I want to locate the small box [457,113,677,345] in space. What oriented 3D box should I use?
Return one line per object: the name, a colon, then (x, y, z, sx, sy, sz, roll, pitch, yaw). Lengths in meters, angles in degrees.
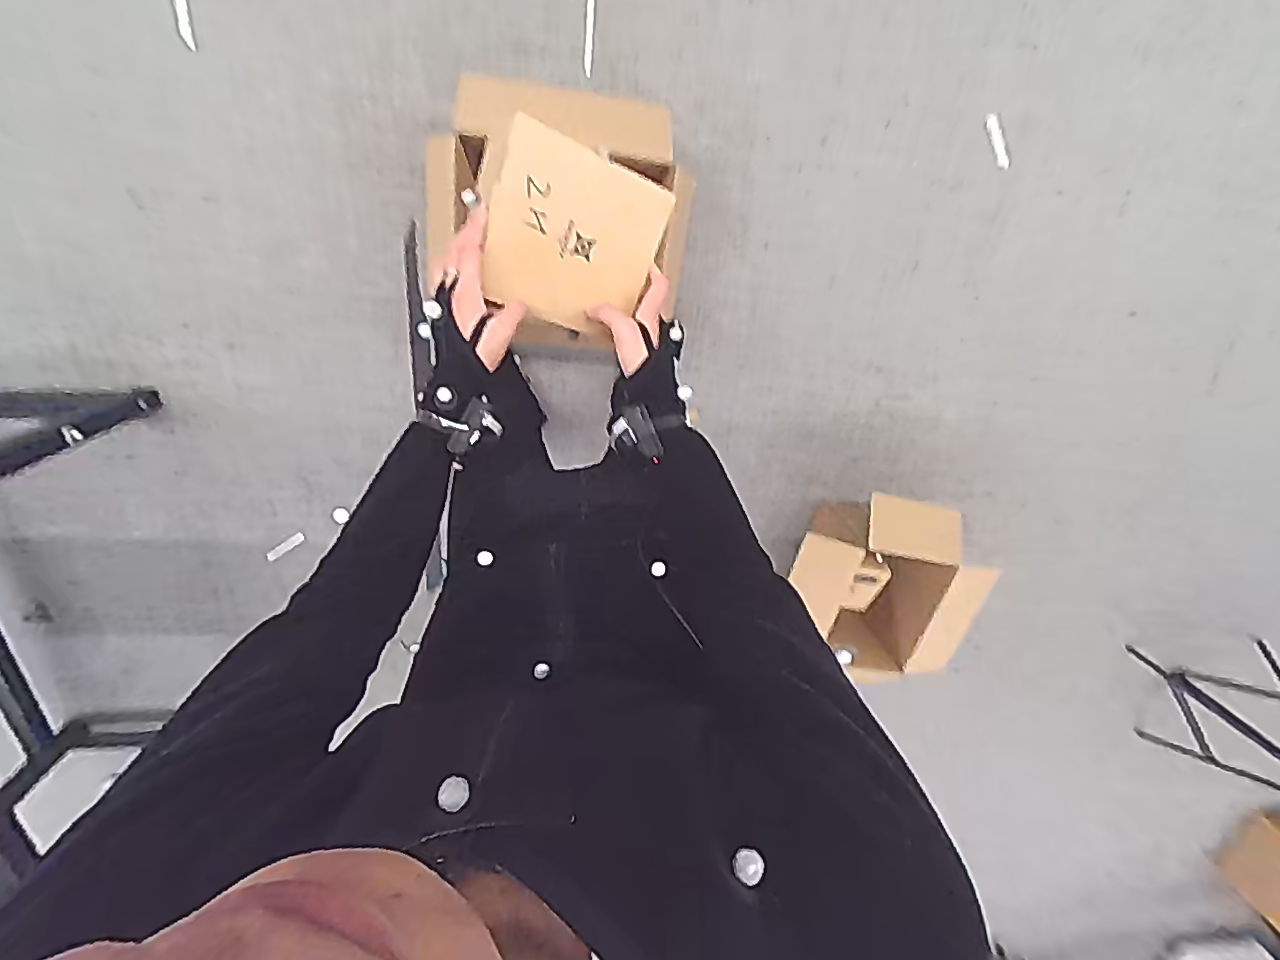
small box: (-0.092, -0.273, 0.603, 0.179, 0.176, 0.168, 13, 111, -28)
